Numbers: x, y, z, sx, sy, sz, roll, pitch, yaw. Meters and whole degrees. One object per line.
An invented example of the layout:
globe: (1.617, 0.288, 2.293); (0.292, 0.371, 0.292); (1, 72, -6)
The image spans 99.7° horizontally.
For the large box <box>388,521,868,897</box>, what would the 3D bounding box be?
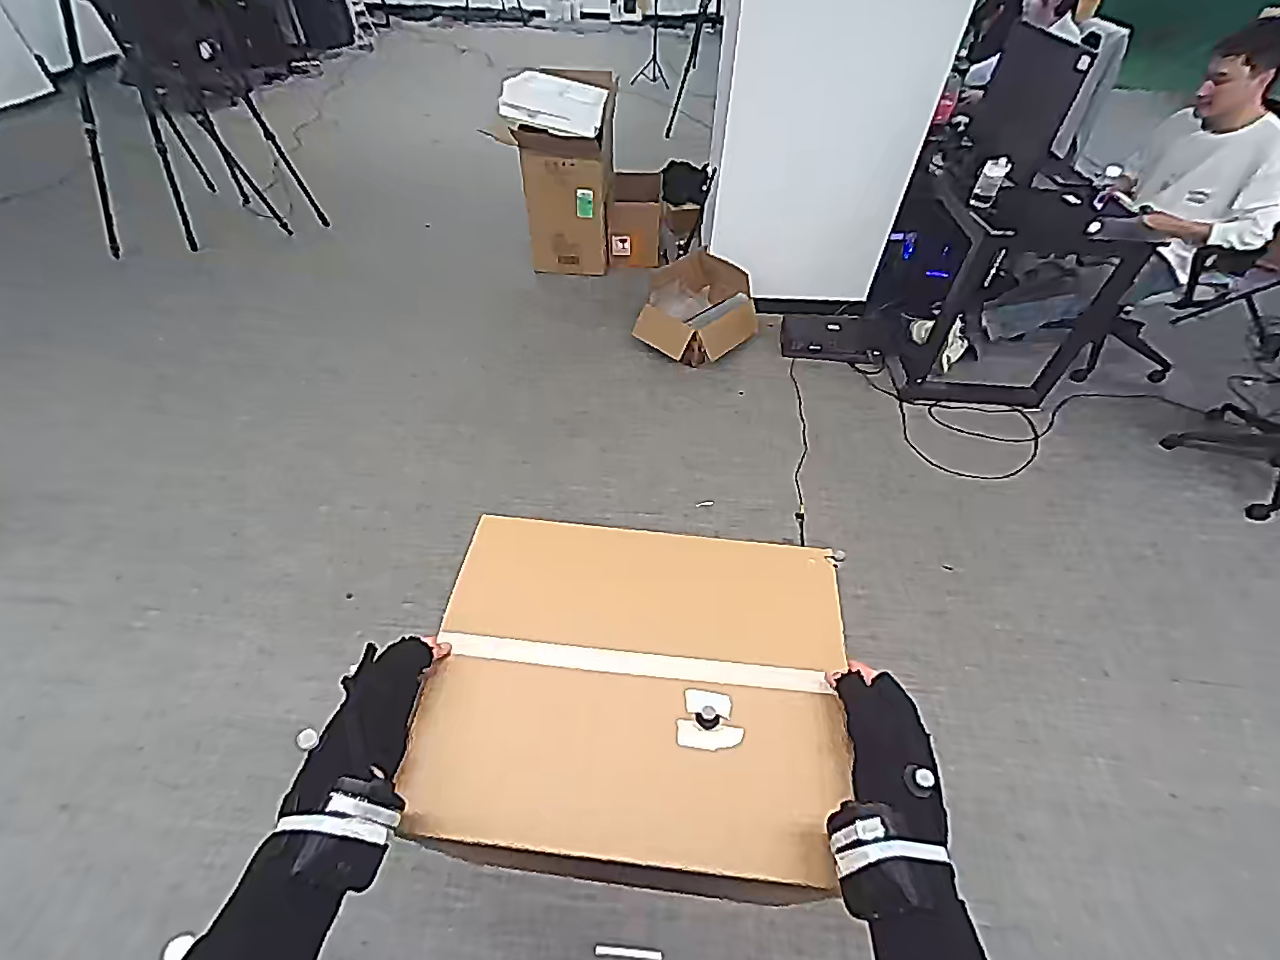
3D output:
large box: (-0.005, 0.276, 0.645); (0.408, 0.320, 0.320); (6, 51, 3)
